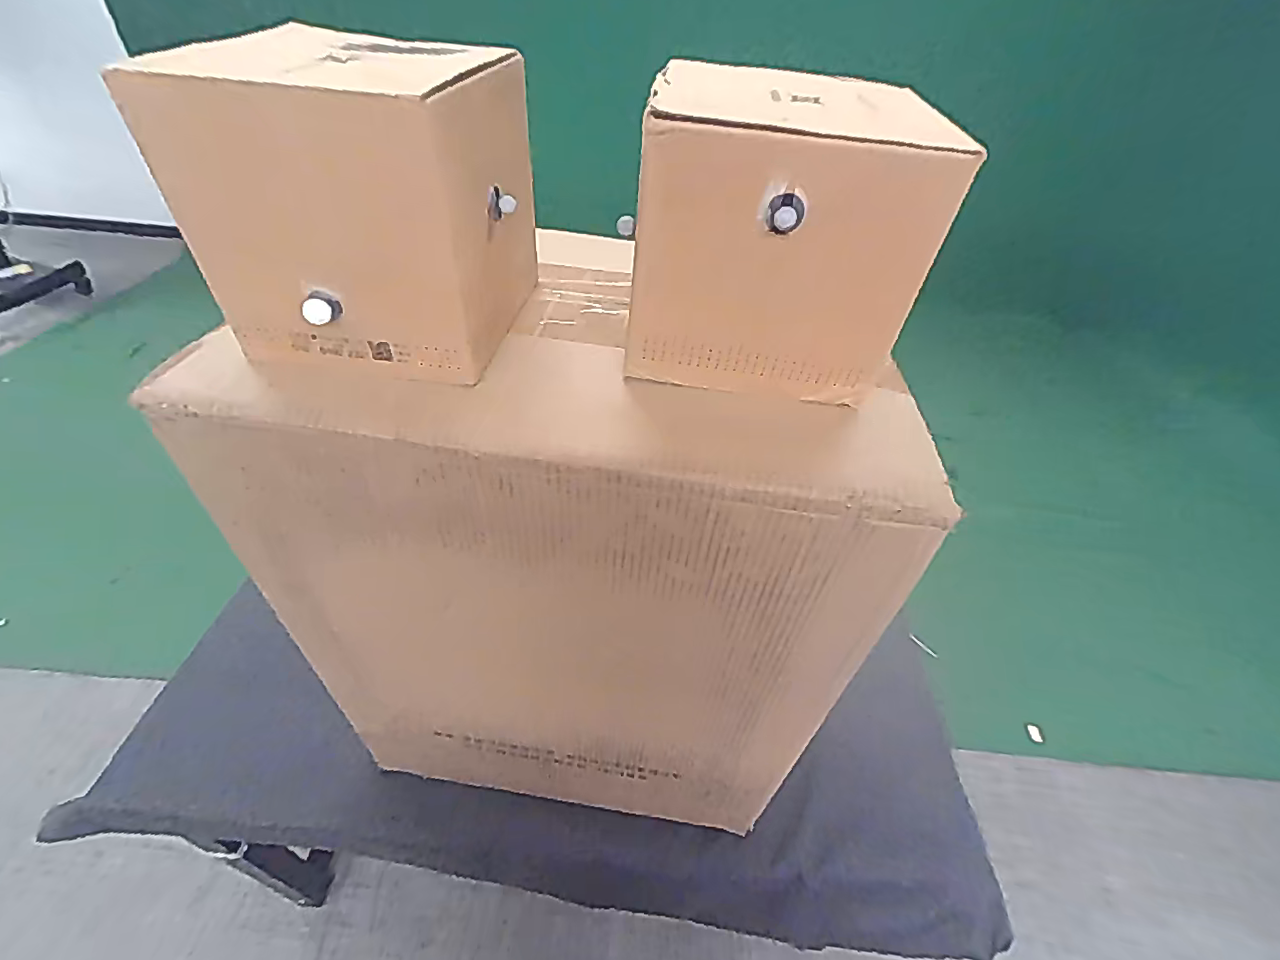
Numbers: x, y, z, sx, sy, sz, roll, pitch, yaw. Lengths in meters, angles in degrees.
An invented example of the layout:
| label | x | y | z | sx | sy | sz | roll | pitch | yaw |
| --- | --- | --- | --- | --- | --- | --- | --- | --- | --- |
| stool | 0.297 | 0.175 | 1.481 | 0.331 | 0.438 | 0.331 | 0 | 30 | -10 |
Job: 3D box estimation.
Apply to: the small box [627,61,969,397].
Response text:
| label | x | y | z | sx | sy | sz | roll | pitch | yaw |
| --- | --- | --- | --- | --- | --- | --- | --- | --- | --- |
| small box | 0.089 | -0.180 | 0.395 | 0.179 | 0.176 | 0.168 | 9 | 46 | 0 |

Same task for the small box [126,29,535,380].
| label | x | y | z | sx | sy | sz | roll | pitch | yaw |
| --- | --- | --- | --- | --- | --- | --- | --- | --- | --- |
| small box | -0.176 | -0.196 | 0.384 | 0.168 | 0.176 | 0.179 | 7 | 45 | 3 |
